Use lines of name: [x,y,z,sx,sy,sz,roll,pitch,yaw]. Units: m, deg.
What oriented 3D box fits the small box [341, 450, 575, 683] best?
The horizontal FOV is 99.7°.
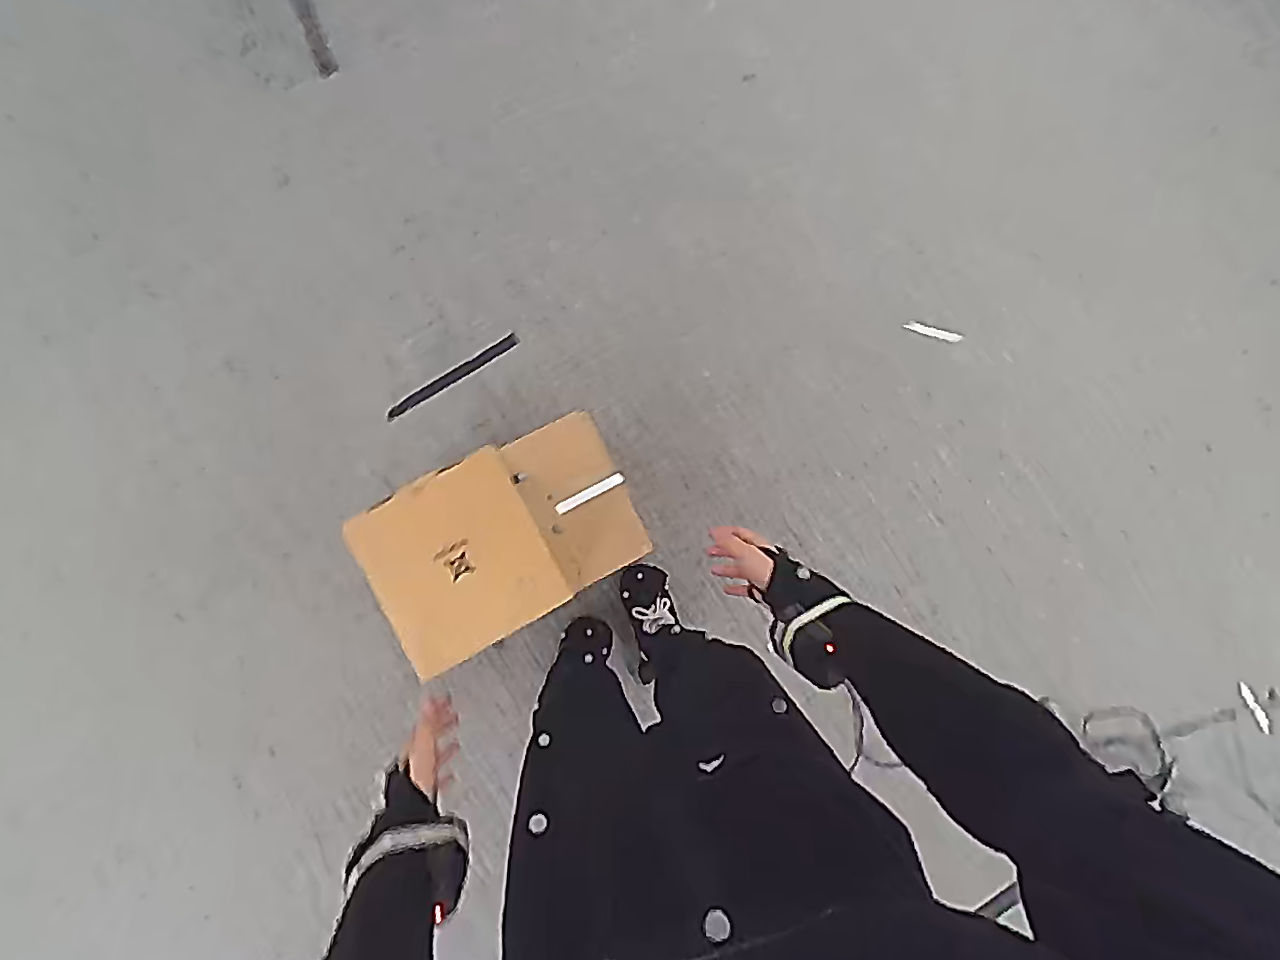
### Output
small box: [-0.182,0.087,0.603,0.168,0.176,0.179,-30,88,-6]
